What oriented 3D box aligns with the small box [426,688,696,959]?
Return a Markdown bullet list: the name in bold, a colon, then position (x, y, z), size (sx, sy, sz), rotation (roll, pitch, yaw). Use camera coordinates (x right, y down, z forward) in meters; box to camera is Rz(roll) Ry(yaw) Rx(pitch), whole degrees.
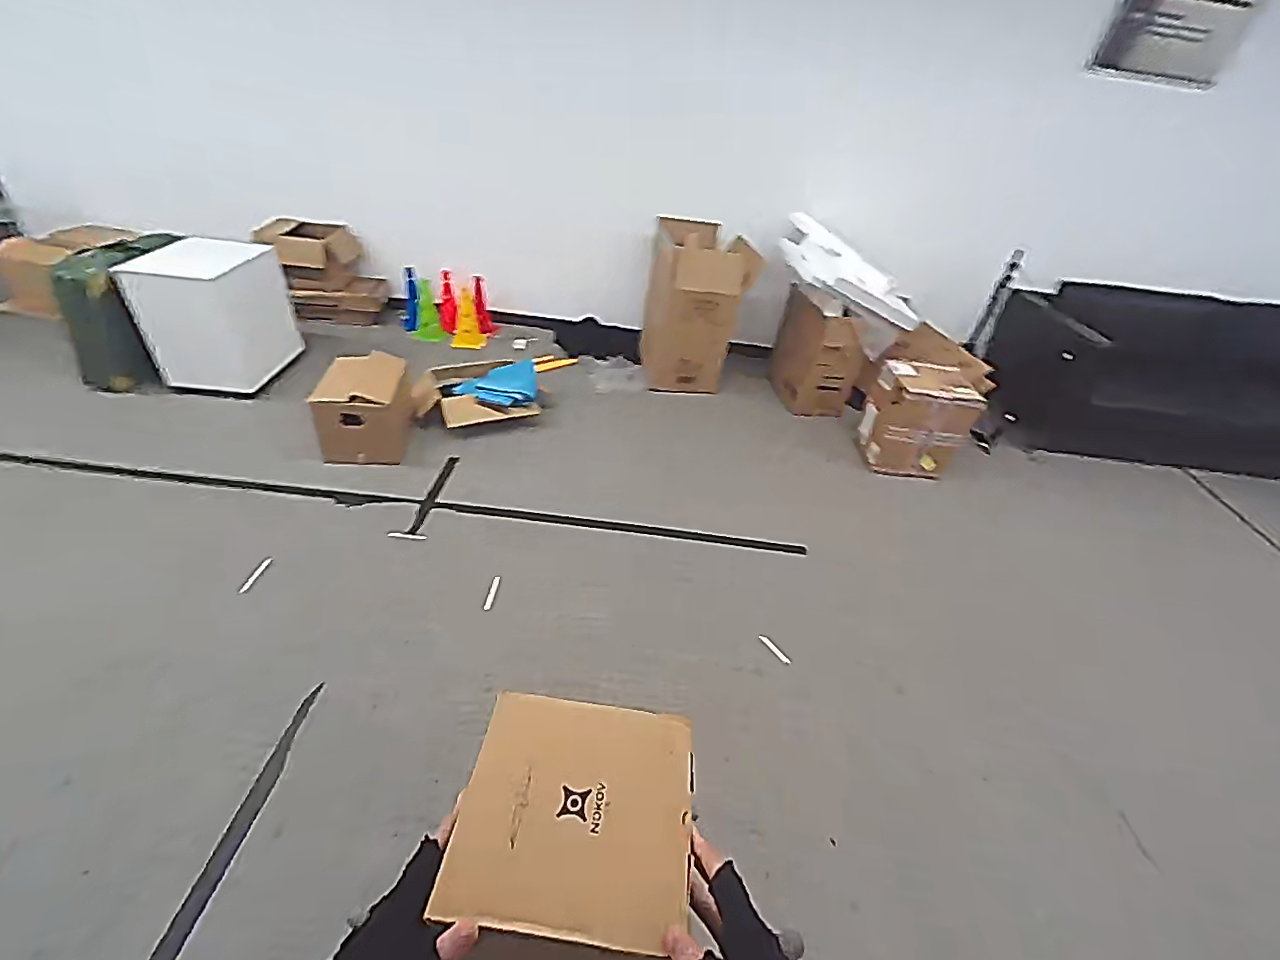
- **small box**: position (-0.051, 0.304, 0.455), size (0.179, 0.176, 0.168), rotation (6, 36, 1)
